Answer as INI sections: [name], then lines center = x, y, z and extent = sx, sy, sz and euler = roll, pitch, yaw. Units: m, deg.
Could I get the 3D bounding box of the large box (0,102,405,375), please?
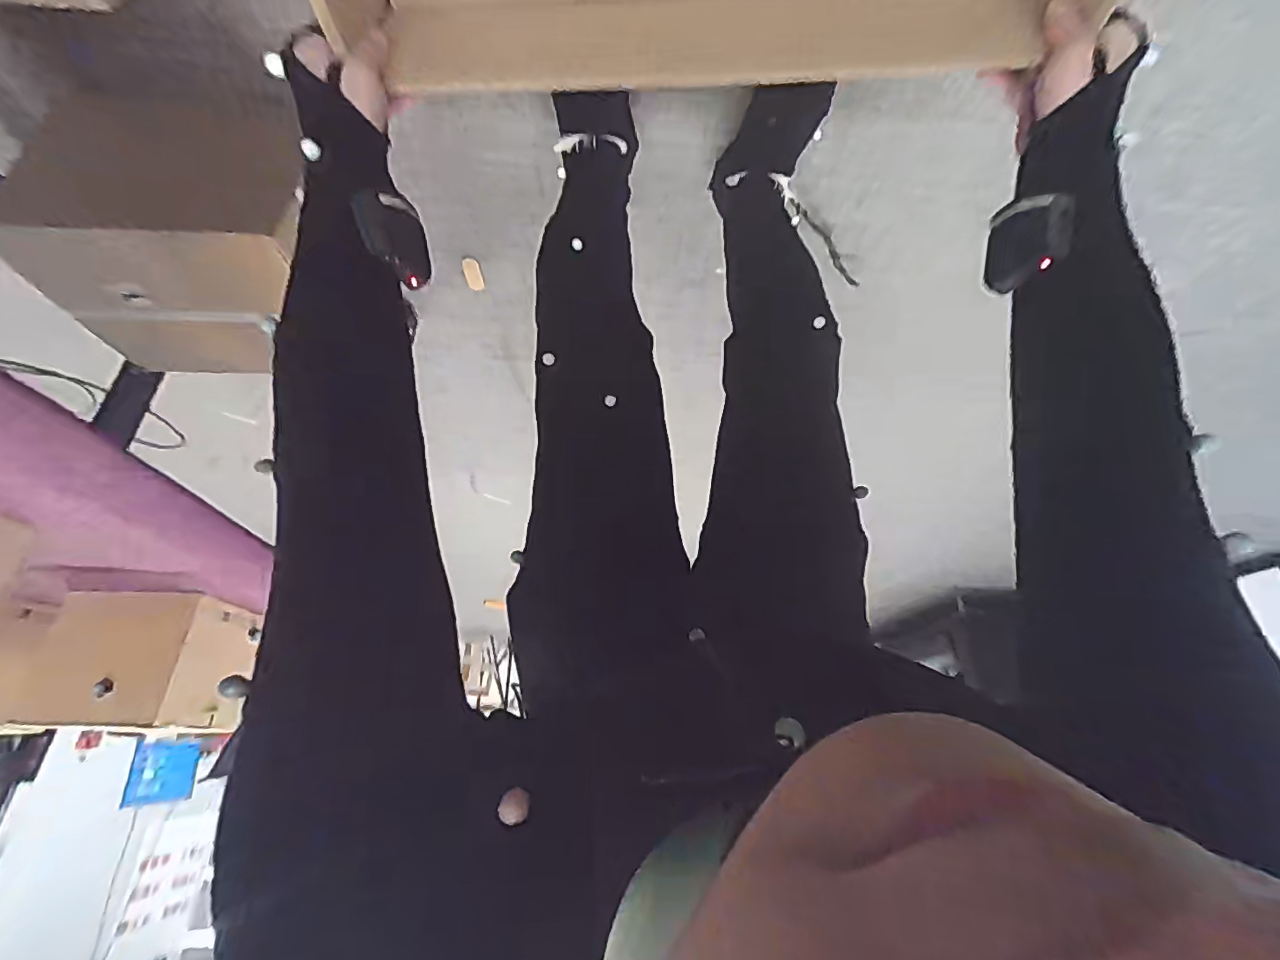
[large box]
center = -0.685, -0.399, 0.925
extent = 0.408, 0.320, 0.320
euler = 2, 152, -1

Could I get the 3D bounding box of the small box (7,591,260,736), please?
[small box]
center = -0.669, 0.257, 0.749
extent = 0.179, 0.176, 0.168
euler = 2, 152, -1
